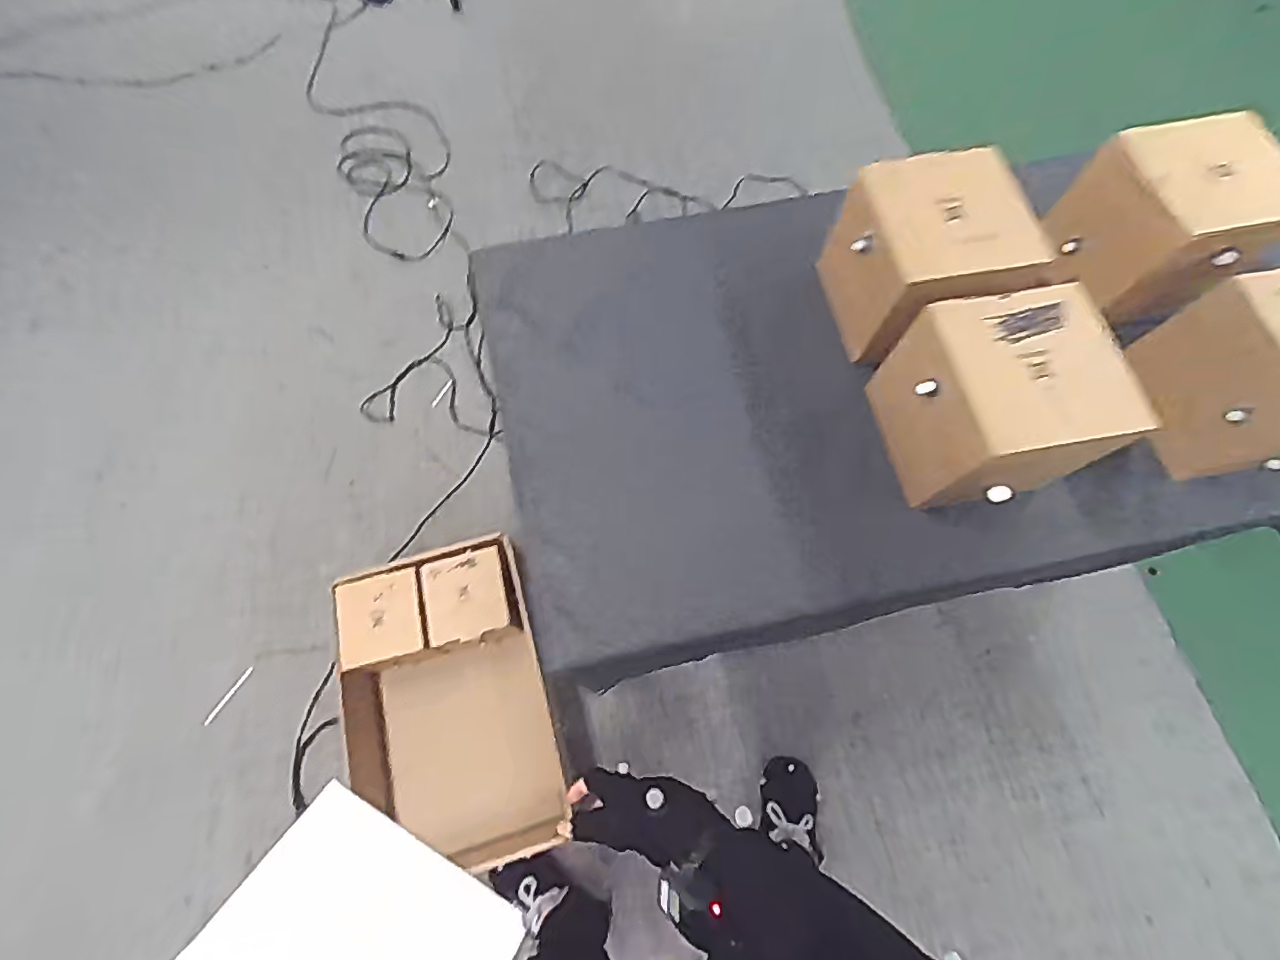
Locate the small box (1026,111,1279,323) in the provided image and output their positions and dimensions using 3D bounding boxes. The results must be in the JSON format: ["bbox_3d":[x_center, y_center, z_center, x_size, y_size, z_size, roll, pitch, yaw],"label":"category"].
[{"bbox_3d":[0.662,-0.330,0.700,0.179,0.176,0.168,-12,69,-3],"label":"small box"}]
